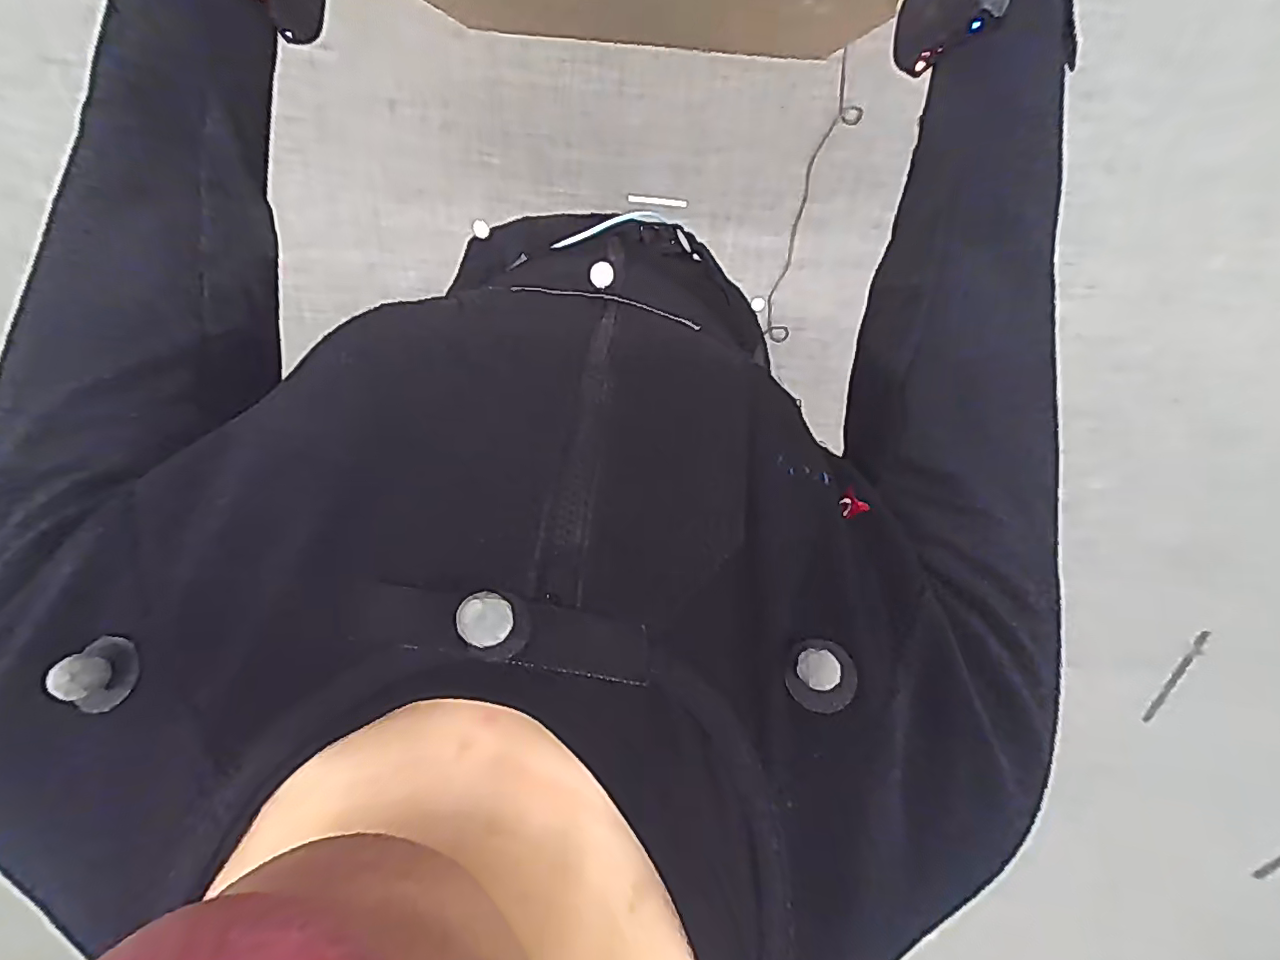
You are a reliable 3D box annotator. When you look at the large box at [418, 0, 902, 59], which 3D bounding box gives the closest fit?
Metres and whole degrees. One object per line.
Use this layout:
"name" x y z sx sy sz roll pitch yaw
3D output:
"large box" 0.010 -0.542 0.407 0.408 0.320 0.320 4 122 0
